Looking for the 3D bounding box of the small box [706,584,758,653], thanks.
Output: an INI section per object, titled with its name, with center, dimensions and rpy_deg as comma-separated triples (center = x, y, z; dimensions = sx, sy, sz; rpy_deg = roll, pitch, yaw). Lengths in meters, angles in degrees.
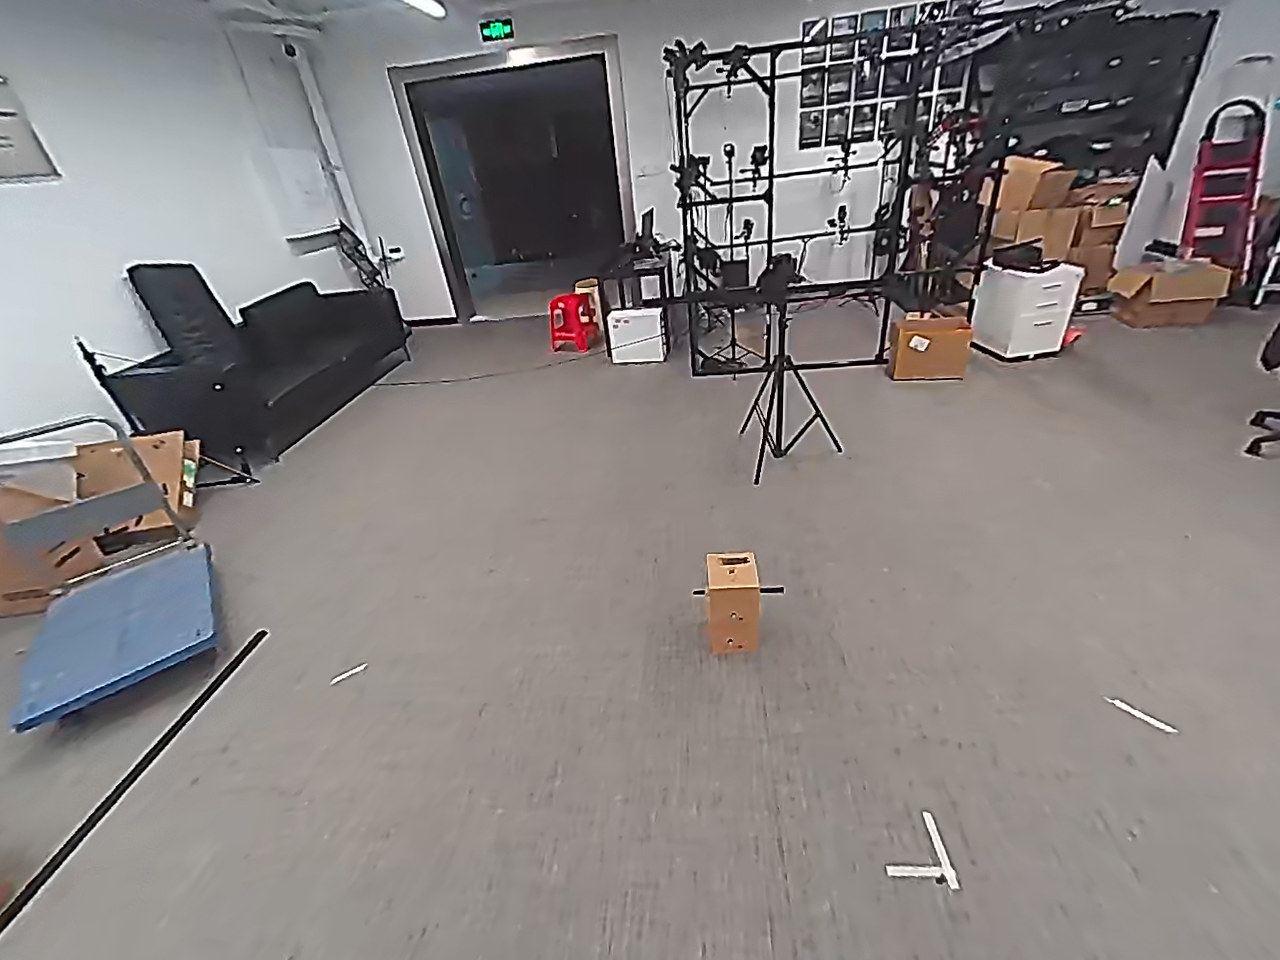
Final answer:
[small box]
center = 0.332, 0.501, 1.964
dimensions = 0.168, 0.176, 0.179
rpy_deg = -6, 31, 3
